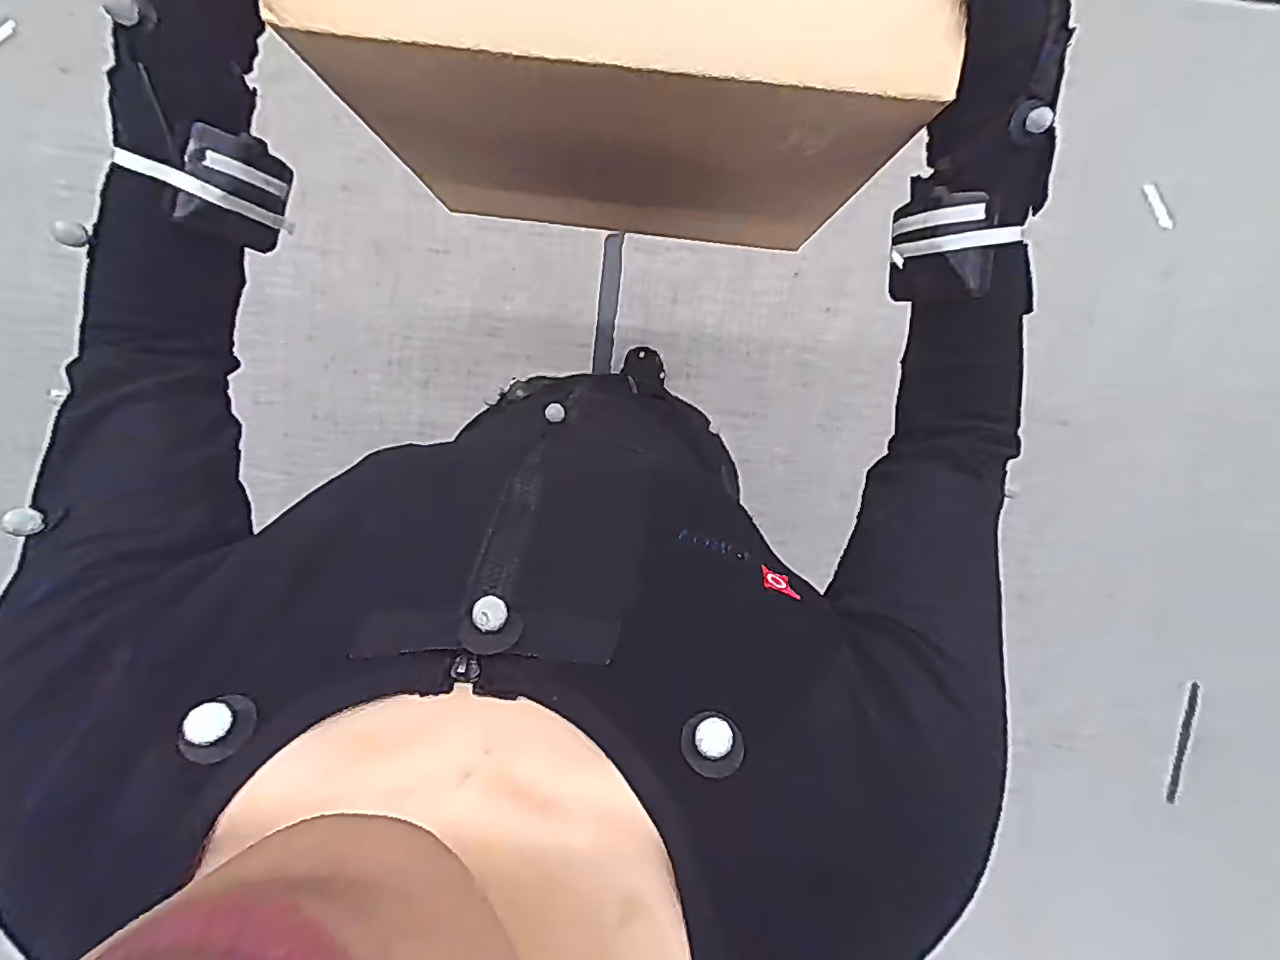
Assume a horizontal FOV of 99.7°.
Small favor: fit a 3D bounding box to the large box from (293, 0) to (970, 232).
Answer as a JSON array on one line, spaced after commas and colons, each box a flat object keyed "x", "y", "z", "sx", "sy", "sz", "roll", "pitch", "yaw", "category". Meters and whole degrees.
[{"x": 0.002, "y": -0.425, "z": 0.446, "sx": 0.408, "sy": 0.320, "sz": 0.320, "roll": 5, "pitch": 99, "yaw": -2, "category": "large box"}]
